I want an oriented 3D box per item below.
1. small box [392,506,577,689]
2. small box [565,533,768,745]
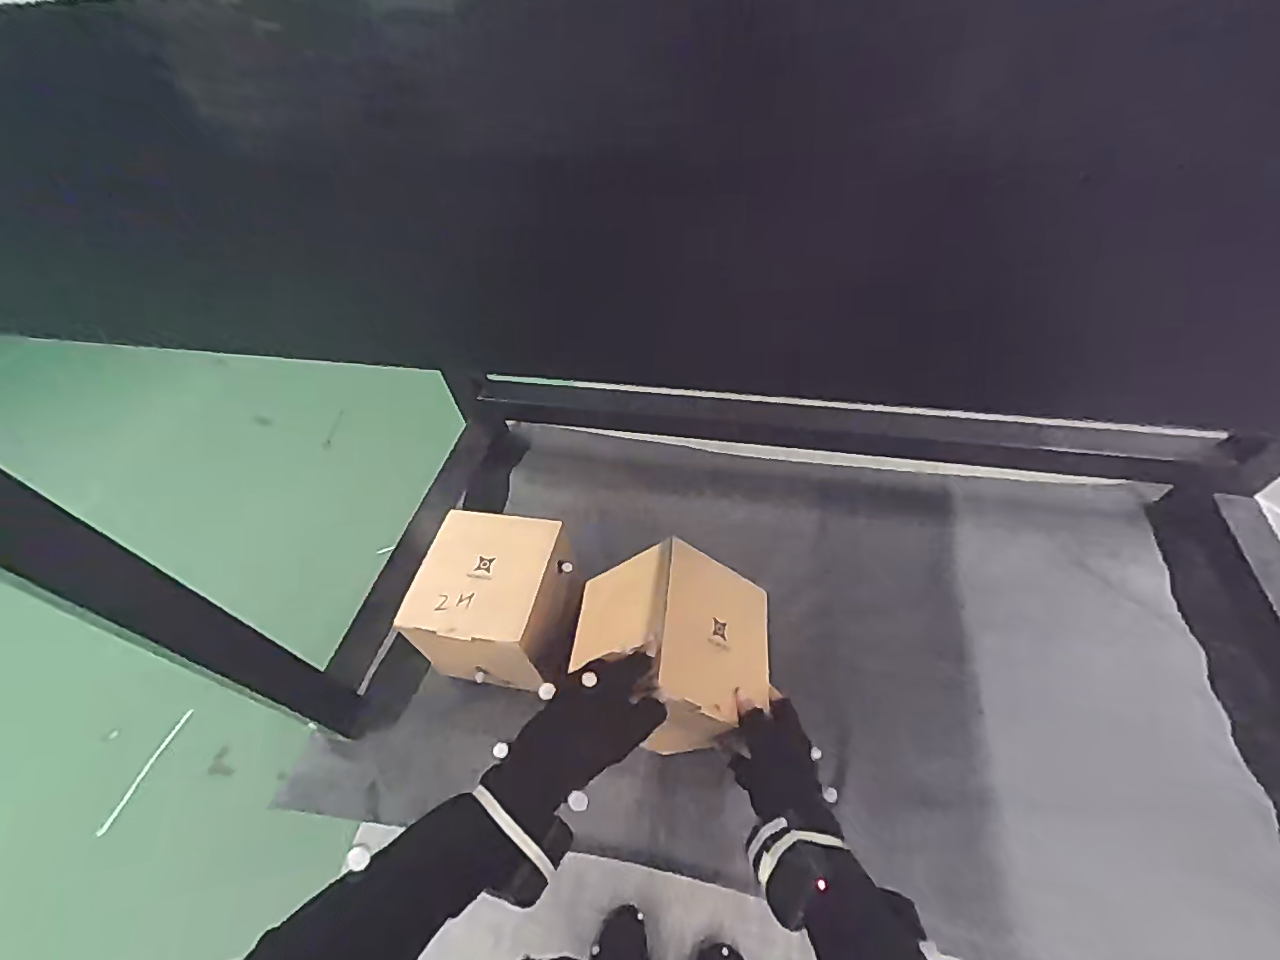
[{"bbox_3d":[-0.194,0.160,0.739,0.168,0.176,0.179,5,51,12],"label":"small box"},{"bbox_3d":[0.032,0.196,0.641,0.176,0.168,0.179,-32,36,39],"label":"small box"}]
